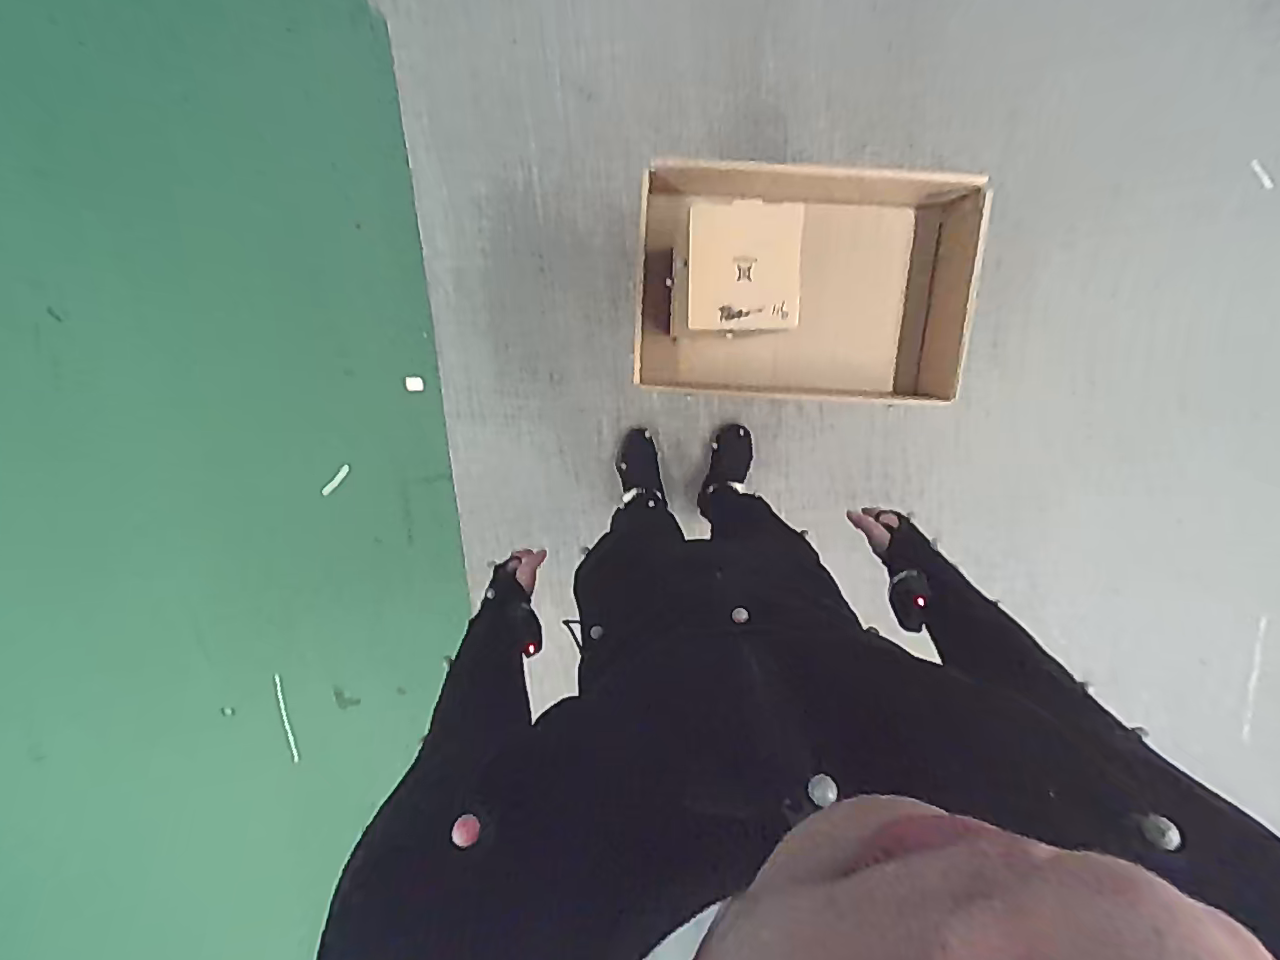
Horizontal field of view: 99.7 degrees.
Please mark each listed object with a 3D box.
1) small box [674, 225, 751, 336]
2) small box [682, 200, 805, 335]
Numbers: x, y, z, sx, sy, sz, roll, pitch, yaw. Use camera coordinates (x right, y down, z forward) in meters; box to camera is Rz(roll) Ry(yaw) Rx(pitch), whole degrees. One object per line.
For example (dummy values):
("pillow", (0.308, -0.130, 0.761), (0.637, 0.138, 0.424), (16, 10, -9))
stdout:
("small box", (0.153, -0.368, 1.025), (0.168, 0.176, 0.179), (2, 102, 0))
("small box", (0.155, -0.330, 0.866), (0.168, 0.176, 0.179), (0, 102, 1))
